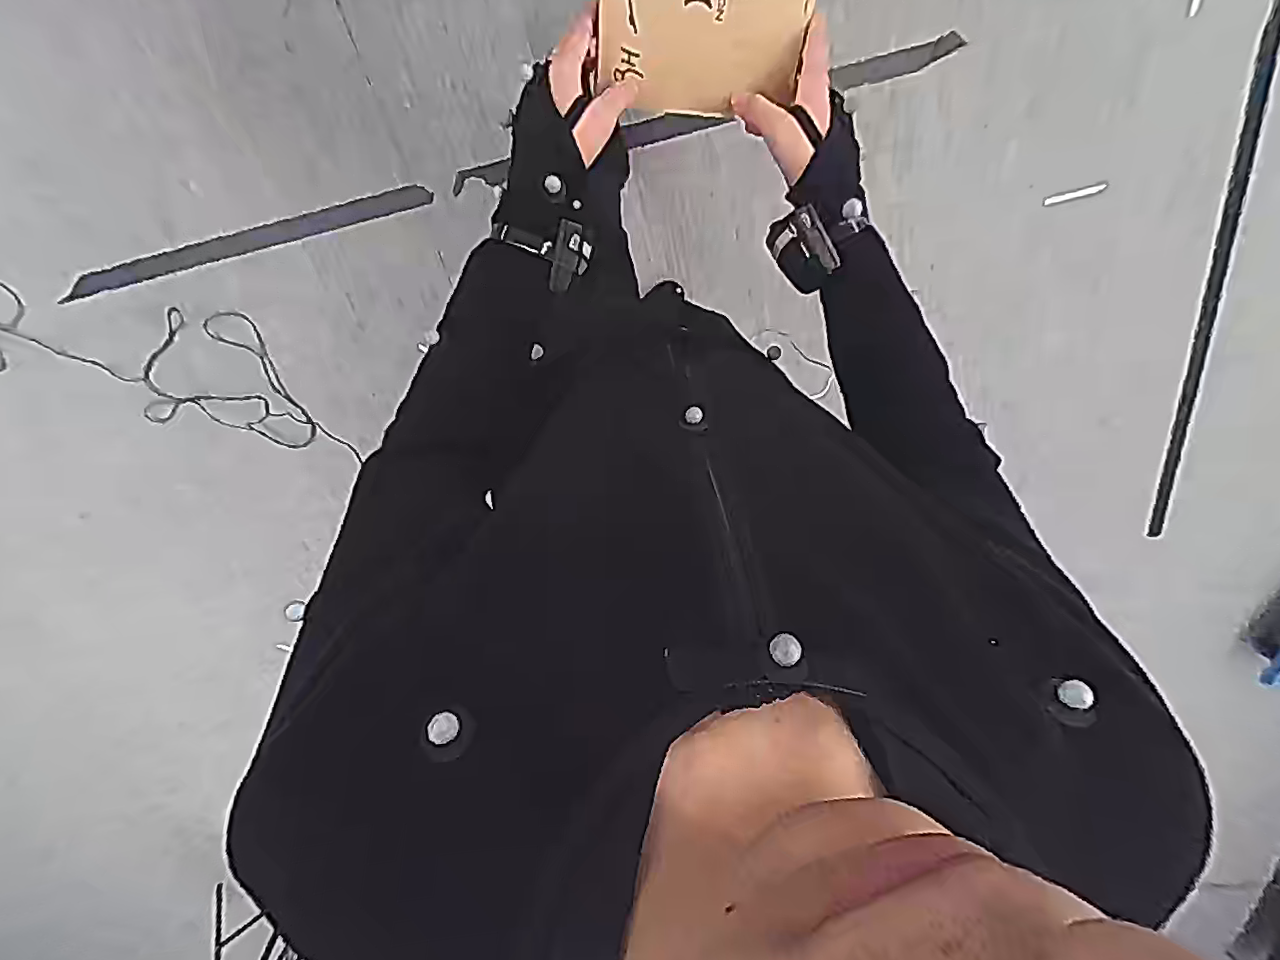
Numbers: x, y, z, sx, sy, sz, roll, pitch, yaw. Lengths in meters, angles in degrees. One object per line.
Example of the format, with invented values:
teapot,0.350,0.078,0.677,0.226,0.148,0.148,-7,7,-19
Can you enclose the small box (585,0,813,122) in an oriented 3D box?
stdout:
small box,0.045,-0.437,0.483,0.179,0.176,0.168,1,129,-9
